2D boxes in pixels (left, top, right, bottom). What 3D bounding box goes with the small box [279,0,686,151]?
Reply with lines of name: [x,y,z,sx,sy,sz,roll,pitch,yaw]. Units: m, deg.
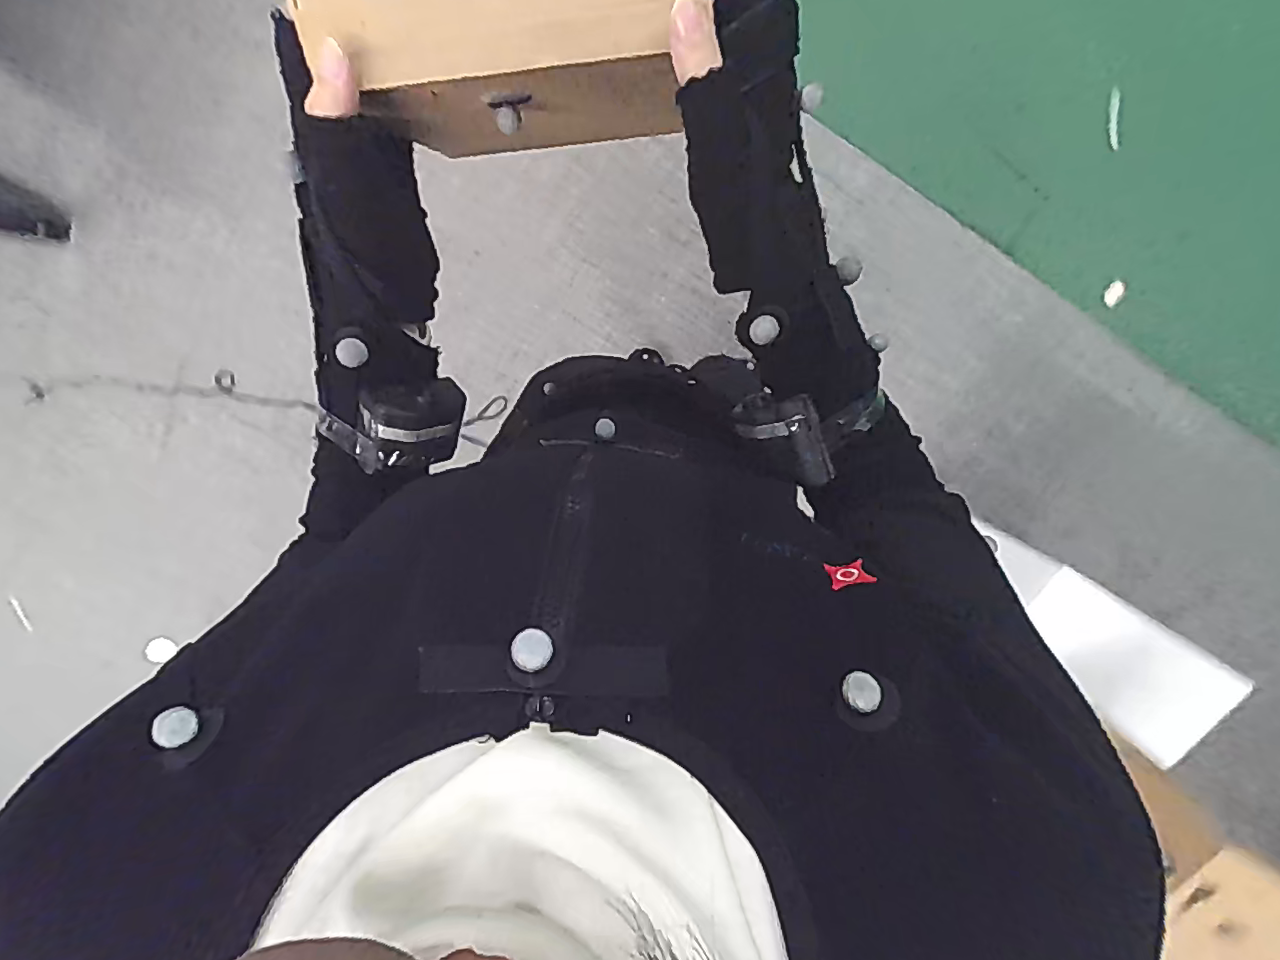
small box: [-0.070,-0.288,0.281,0.179,0.176,0.168,-5,112,4]
